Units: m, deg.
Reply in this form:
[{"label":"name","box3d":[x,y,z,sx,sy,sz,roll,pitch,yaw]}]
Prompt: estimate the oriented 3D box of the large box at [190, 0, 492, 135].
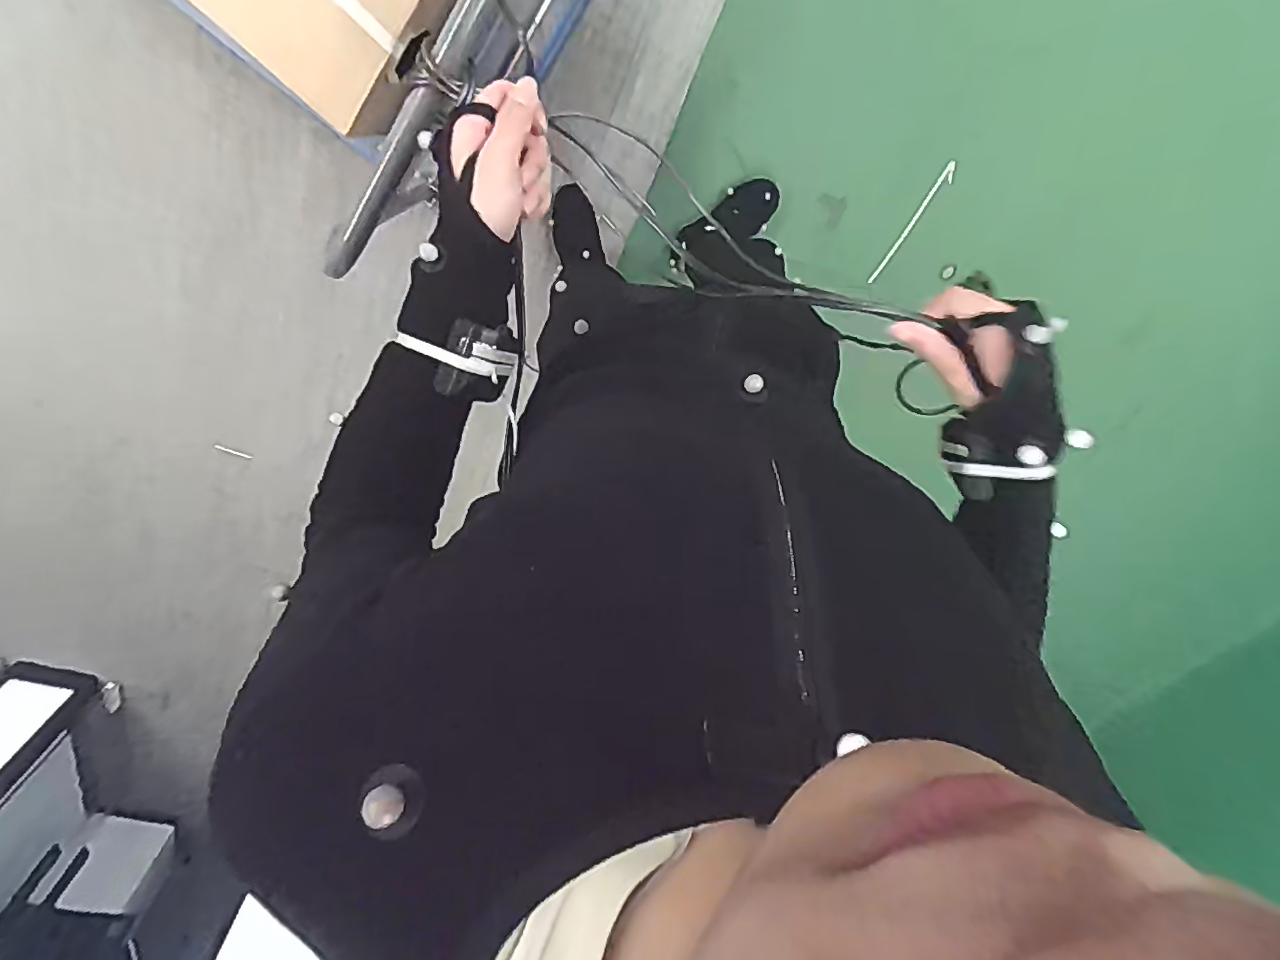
[{"label":"large box","box3d":[-0.500,-0.831,0.848,0.408,0.320,0.320,38,115,-23]}]
